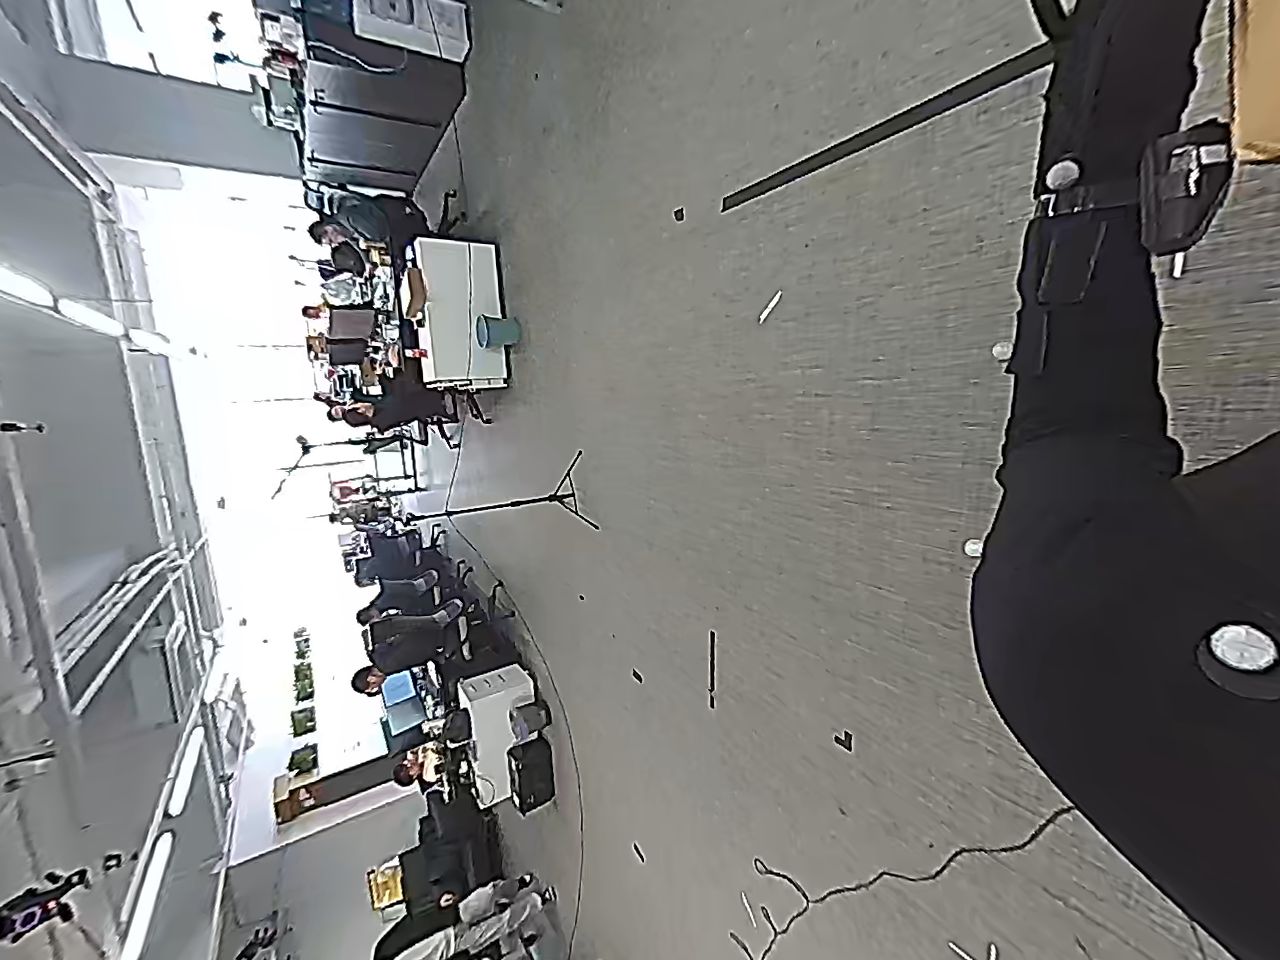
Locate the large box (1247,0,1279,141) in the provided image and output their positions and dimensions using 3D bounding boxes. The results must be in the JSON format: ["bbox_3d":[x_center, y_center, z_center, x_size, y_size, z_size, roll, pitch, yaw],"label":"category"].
[{"bbox_3d":[0.512,-0.360,0.170,0.408,0.320,0.320,4,112,56],"label":"large box"}]
